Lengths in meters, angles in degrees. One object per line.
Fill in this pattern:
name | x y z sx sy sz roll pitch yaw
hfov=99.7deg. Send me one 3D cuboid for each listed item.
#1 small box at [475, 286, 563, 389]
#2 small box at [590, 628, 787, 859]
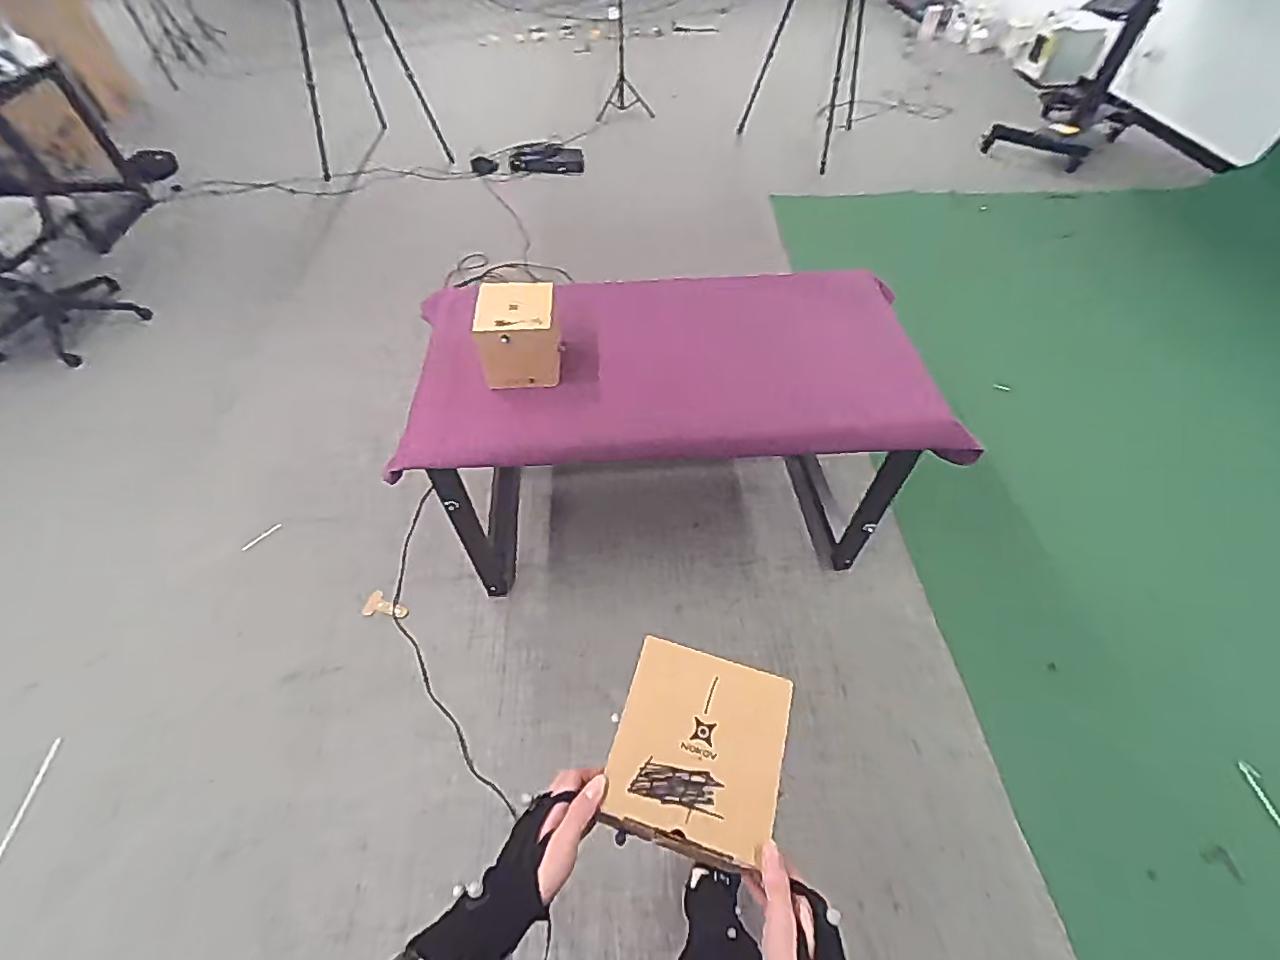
small box | -0.273 -0.331 1.258 0.168 0.176 0.179 -2 52 -2
small box | 0.053 0.299 0.606 0.168 0.176 0.179 16 53 8
